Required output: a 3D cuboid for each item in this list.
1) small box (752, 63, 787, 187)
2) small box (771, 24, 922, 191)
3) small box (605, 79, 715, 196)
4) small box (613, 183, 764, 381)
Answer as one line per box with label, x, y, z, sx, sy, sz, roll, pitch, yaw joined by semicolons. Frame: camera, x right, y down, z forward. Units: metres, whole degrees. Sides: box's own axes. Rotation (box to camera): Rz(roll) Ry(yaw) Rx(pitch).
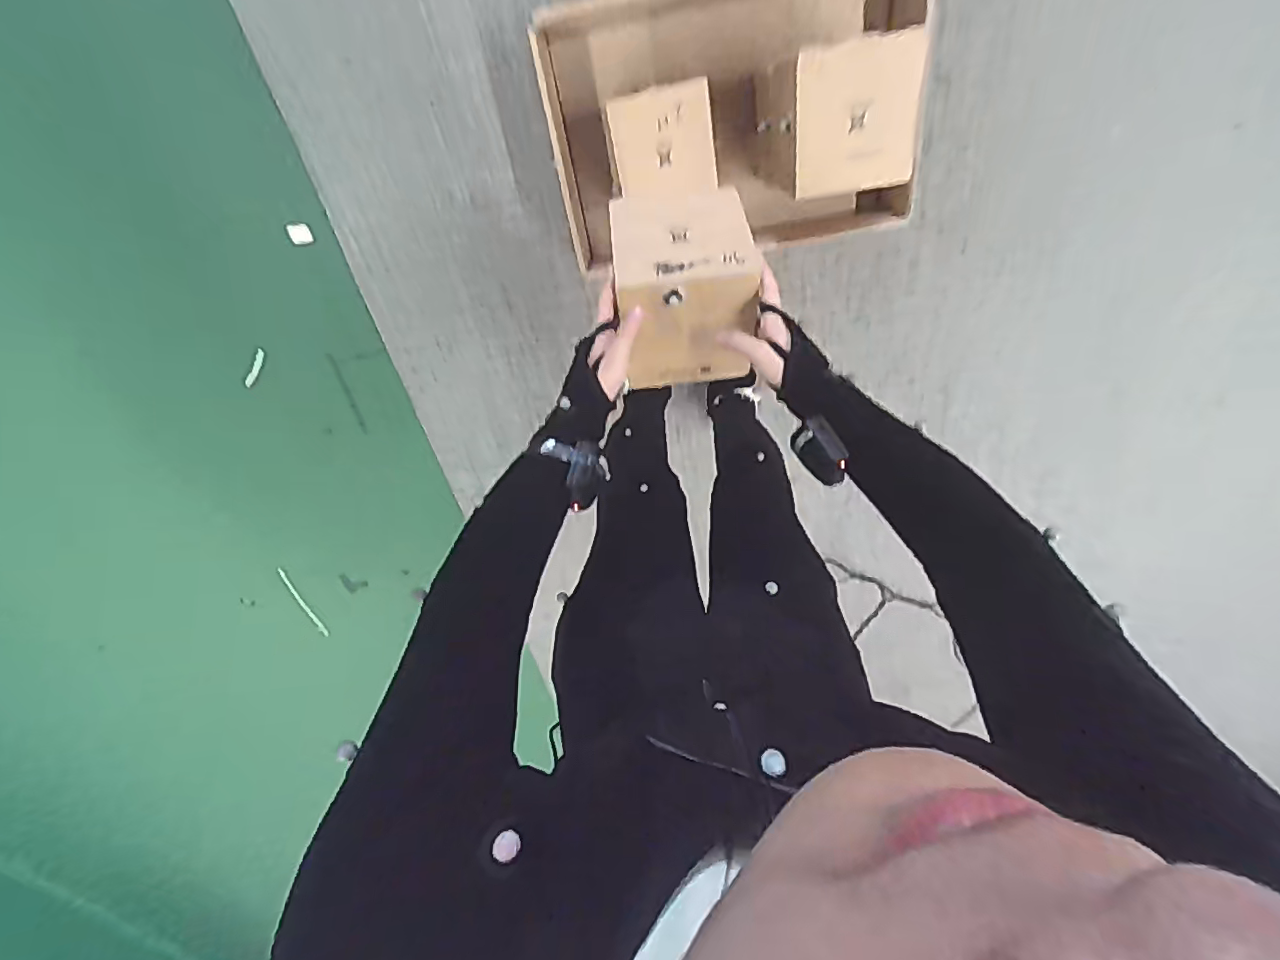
small box;0.296;-0.636;0.952;0.168;0.176;0.179;-9;123;6
small box;0.295;-0.549;0.813;0.168;0.176;0.179;-6;123;5
small box;0.038;-0.596;0.970;0.168;0.176;0.179;-10;123;5
small box;0.057;-0.256;0.712;0.168;0.179;0.176;-7;147;2
